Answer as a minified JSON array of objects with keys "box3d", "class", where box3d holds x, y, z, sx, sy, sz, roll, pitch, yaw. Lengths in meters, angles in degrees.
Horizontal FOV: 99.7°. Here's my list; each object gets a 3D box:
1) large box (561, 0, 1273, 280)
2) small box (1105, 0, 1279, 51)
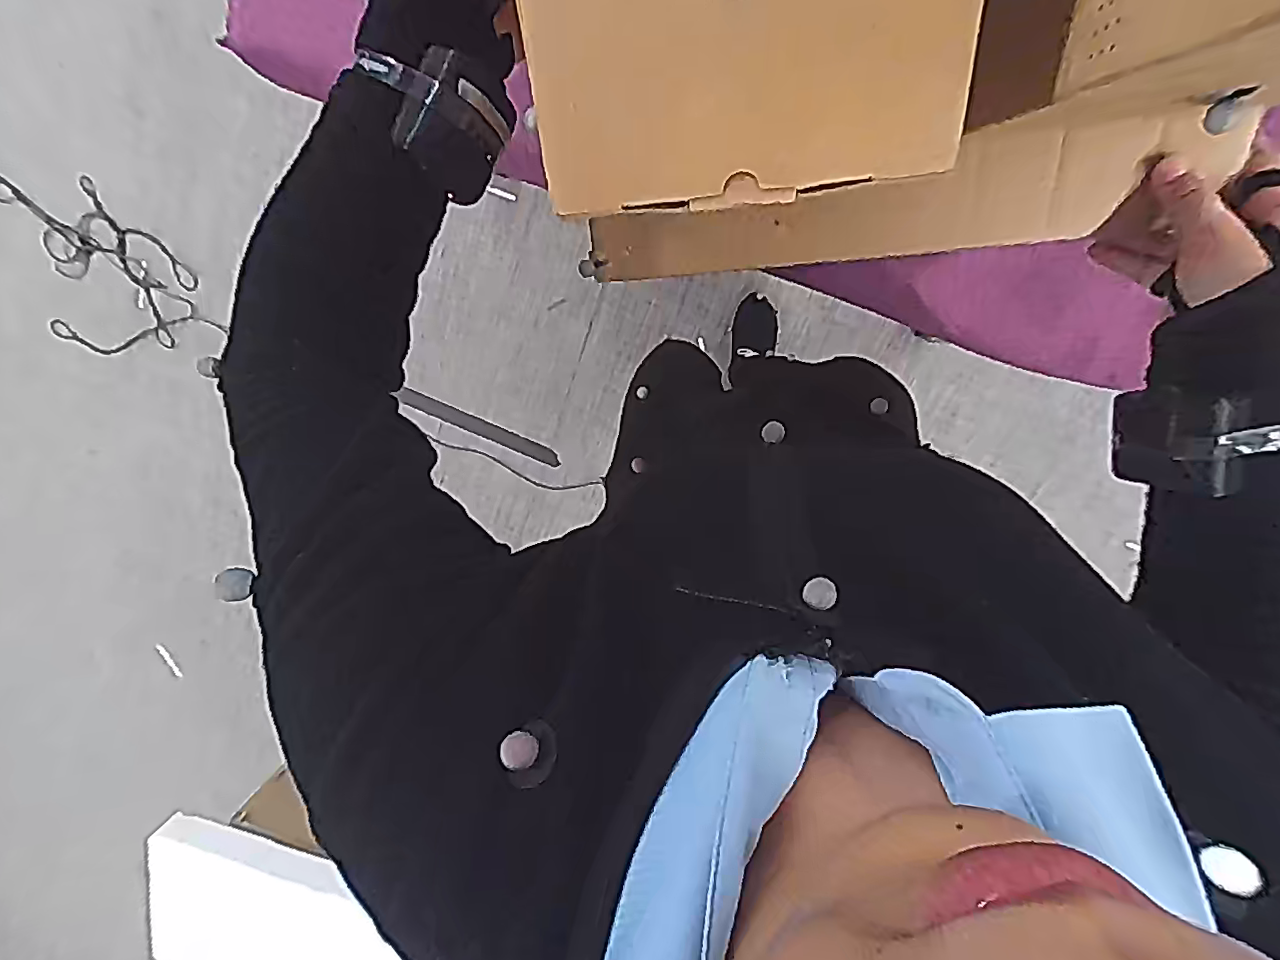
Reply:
[{"box3d":[0.174,-0.361,0.442,0.408,0.320,0.320,-1,113,13],"class":"large box"},{"box3d":[0.209,-0.177,0.060,0.179,0.176,0.168,1,117,12],"class":"small box"}]
